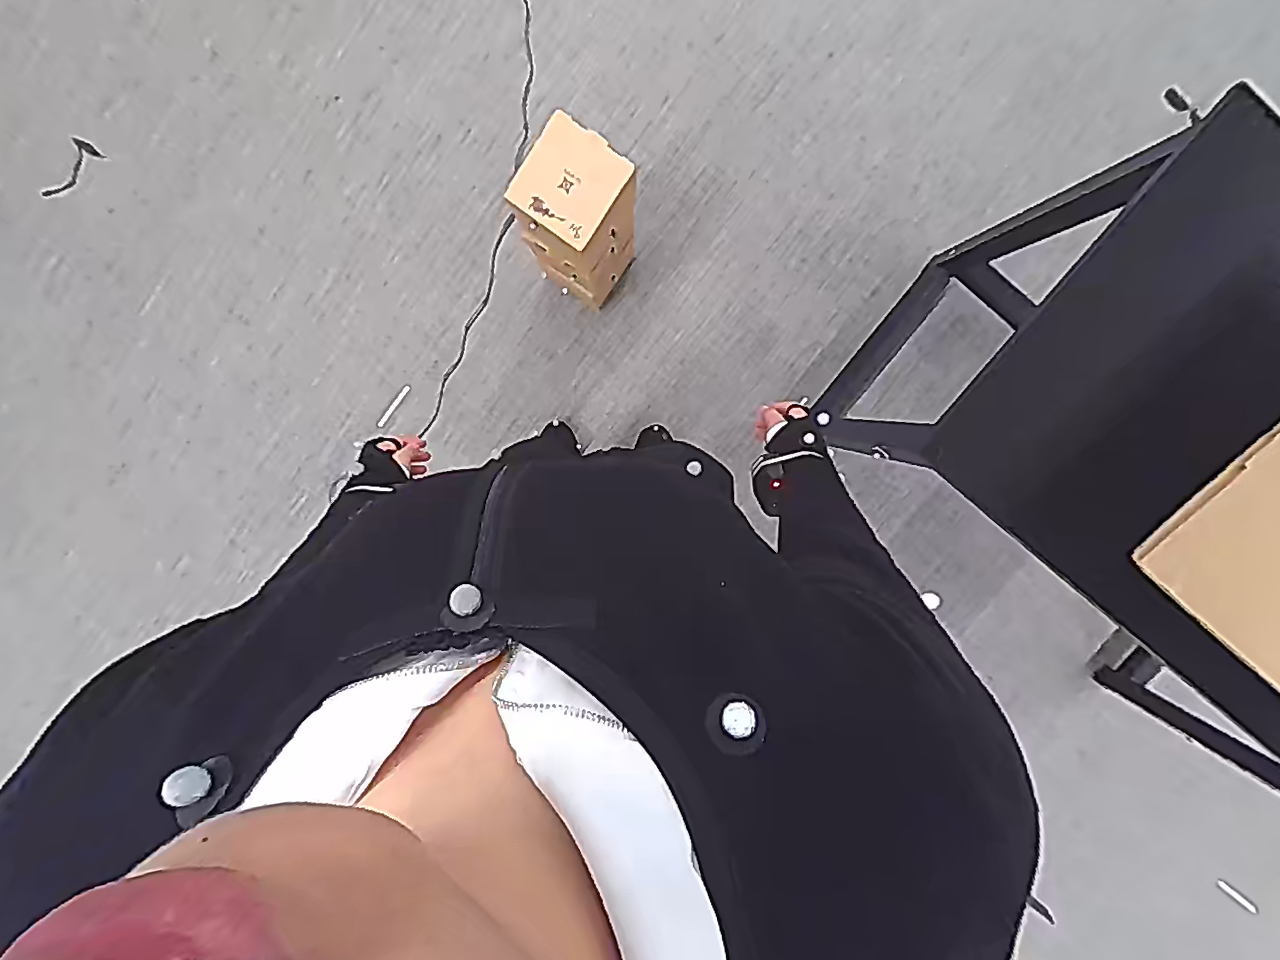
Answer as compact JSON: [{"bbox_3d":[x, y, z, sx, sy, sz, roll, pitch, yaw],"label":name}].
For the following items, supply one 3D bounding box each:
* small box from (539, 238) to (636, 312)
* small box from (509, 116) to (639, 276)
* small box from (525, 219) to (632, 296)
[{"bbox_3d":[-0.126,-0.545,1.343,0.168,0.176,0.179,35,97,-3],"label":"small box"},{"bbox_3d":[-0.118,-0.519,1.017,0.168,0.176,0.179,35,95,-4],"label":"small box"},{"bbox_3d":[-0.125,-0.531,1.182,0.168,0.176,0.179,31,95,-4],"label":"small box"}]
